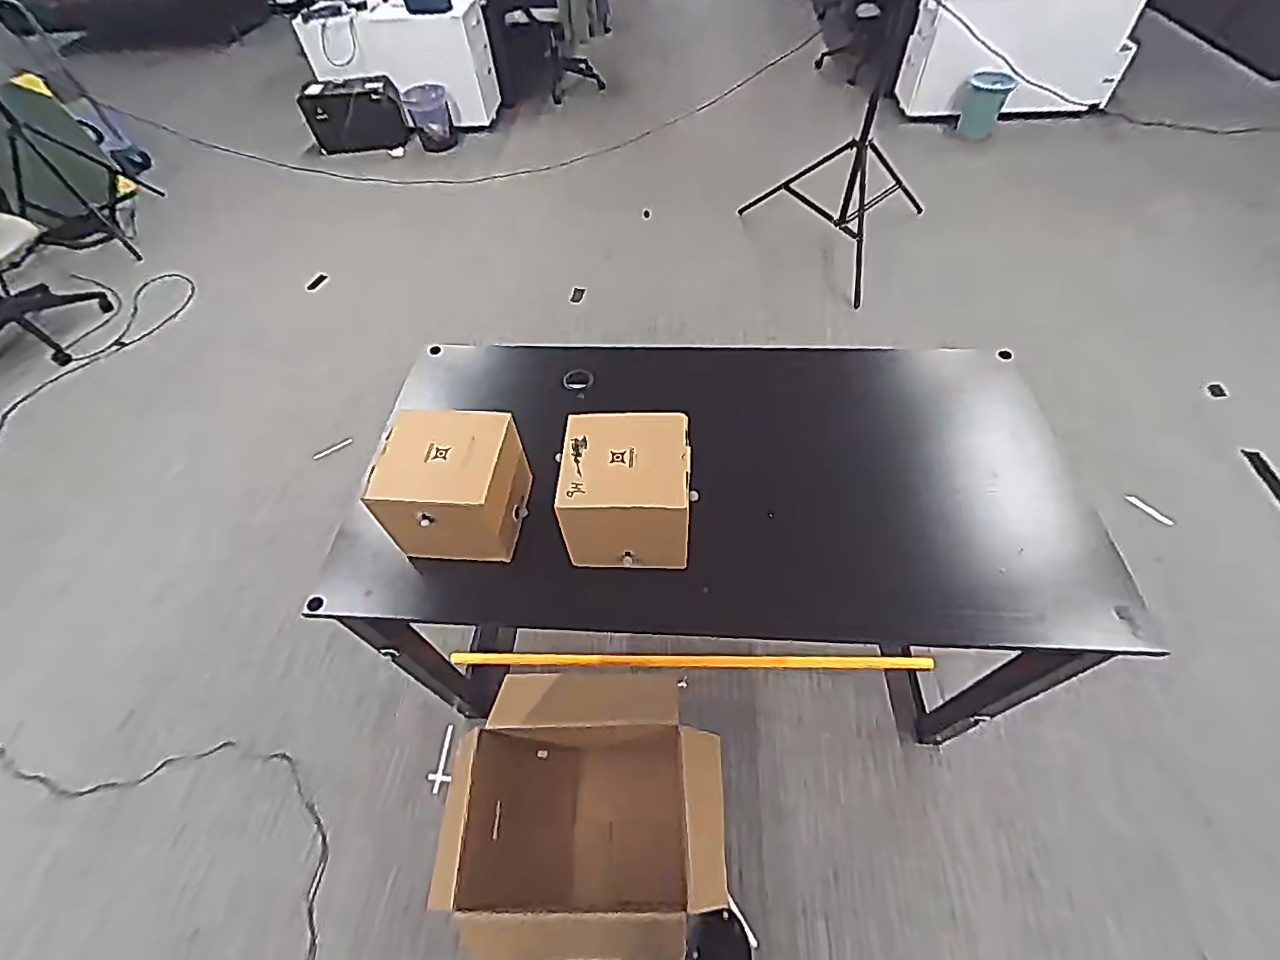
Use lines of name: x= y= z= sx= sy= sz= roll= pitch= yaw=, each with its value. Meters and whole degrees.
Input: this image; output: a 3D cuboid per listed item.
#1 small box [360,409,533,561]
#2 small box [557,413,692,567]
small box: x=-0.278 y=0.011 z=0.822 sx=0.179 sy=0.176 sz=0.168 roll=3 pitch=54 yaw=5
small box: x=-0.016 y=0.019 z=0.801 sx=0.179 sy=0.176 sz=0.168 roll=1 pitch=53 yaw=3
